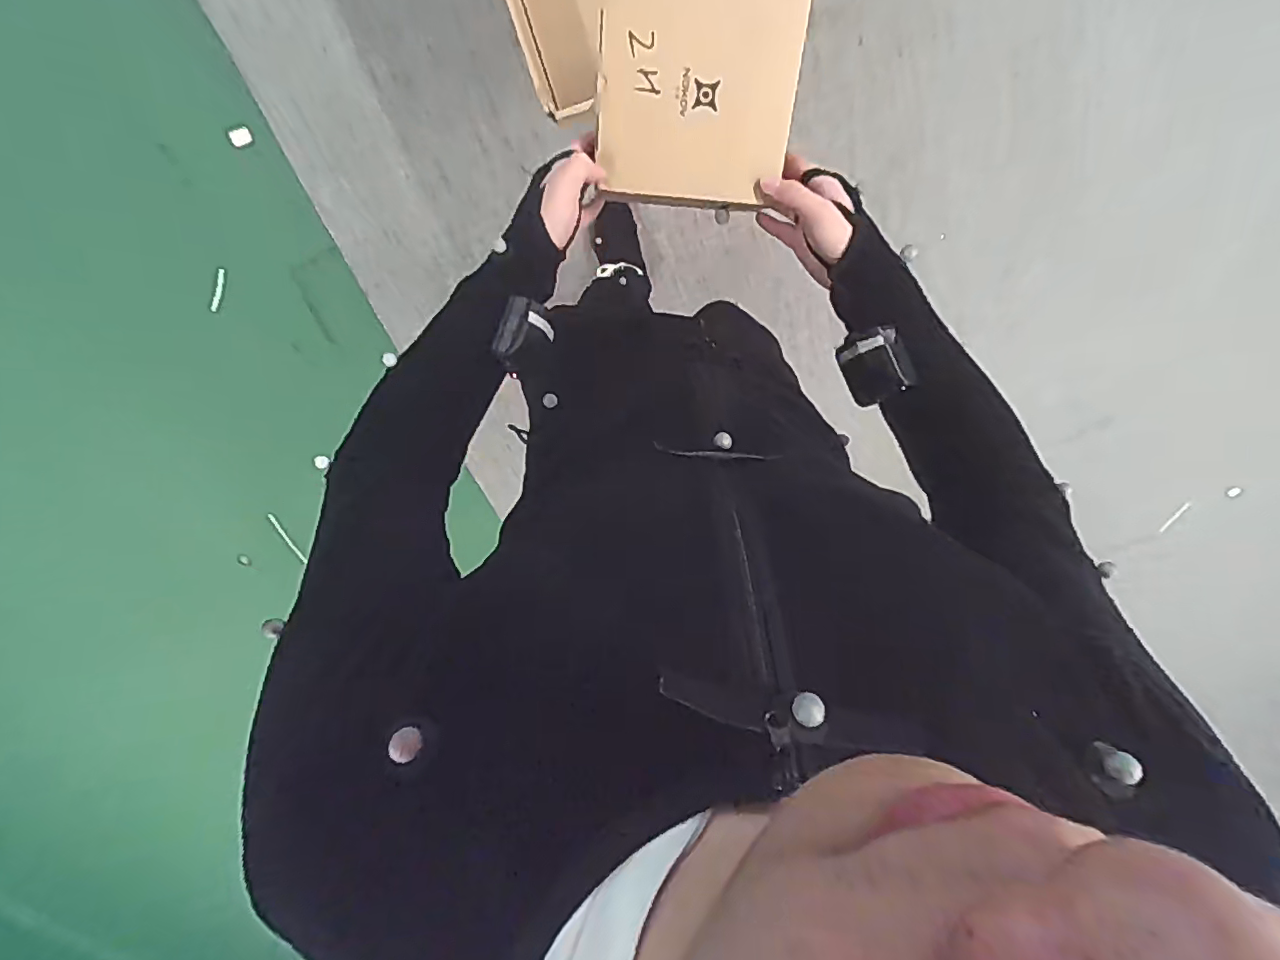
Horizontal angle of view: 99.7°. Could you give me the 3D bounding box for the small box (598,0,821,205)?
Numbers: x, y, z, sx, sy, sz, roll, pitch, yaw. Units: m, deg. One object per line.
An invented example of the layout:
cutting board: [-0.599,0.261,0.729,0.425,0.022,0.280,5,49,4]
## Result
small box: [0.054,-0.376,0.541,0.179,0.176,0.168,5,114,-3]
